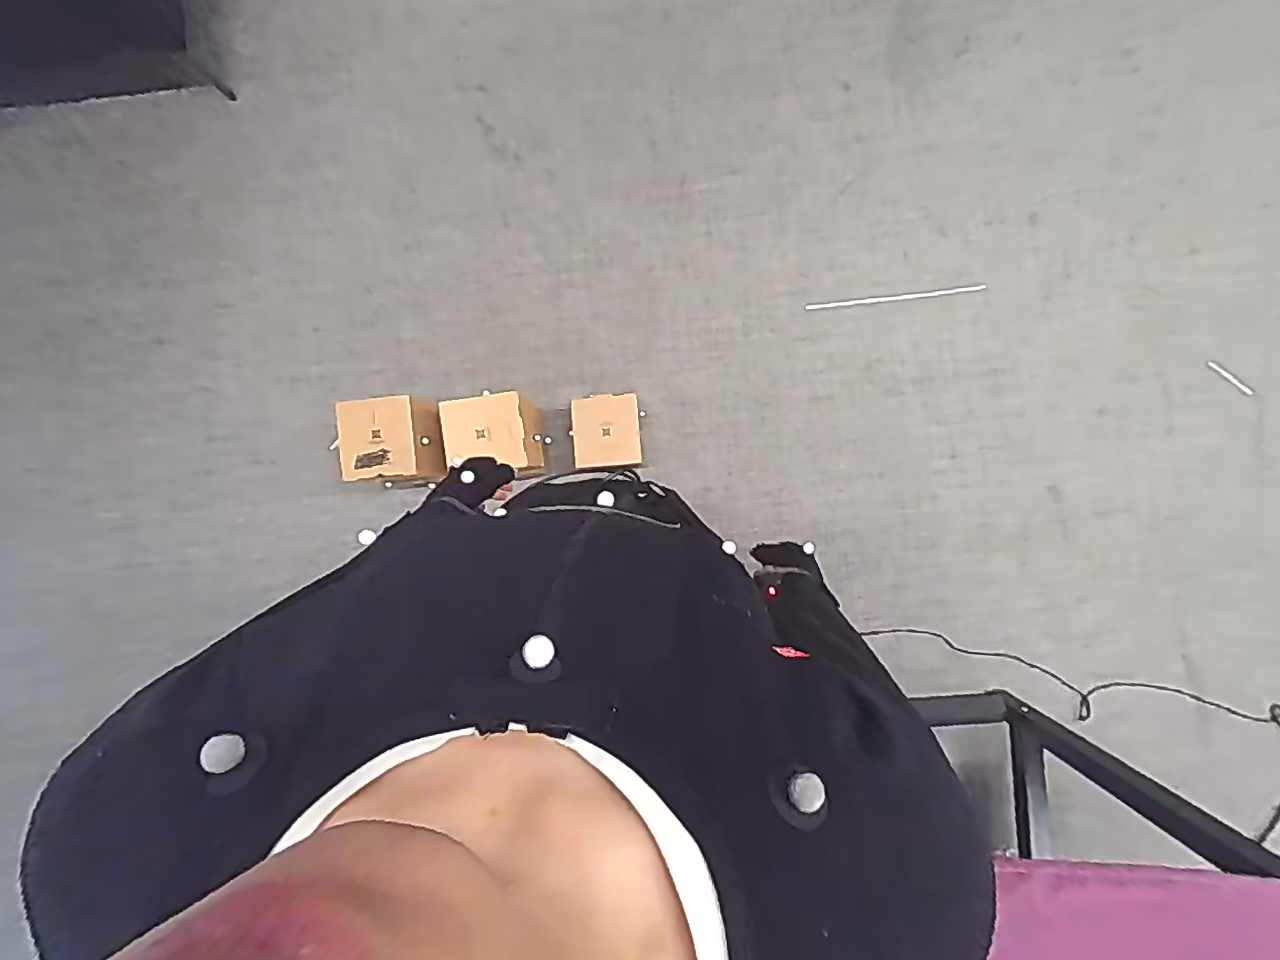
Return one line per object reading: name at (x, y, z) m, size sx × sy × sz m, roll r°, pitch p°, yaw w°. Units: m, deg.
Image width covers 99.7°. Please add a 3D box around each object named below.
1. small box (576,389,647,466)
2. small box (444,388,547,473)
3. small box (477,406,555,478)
small box at (-0.069, -0.130, 1.400) m, size 0.168 × 0.176 × 0.179 m, roll -4°, pitch 90°, yaw 2°
small box at (-0.325, -0.106, 1.243) m, size 0.179 × 0.176 × 0.168 m, roll -8°, pitch 90°, yaw 1°
small box at (-0.325, -0.102, 1.405) m, size 0.168 × 0.176 × 0.179 m, roll -7°, pitch 89°, yaw 3°
